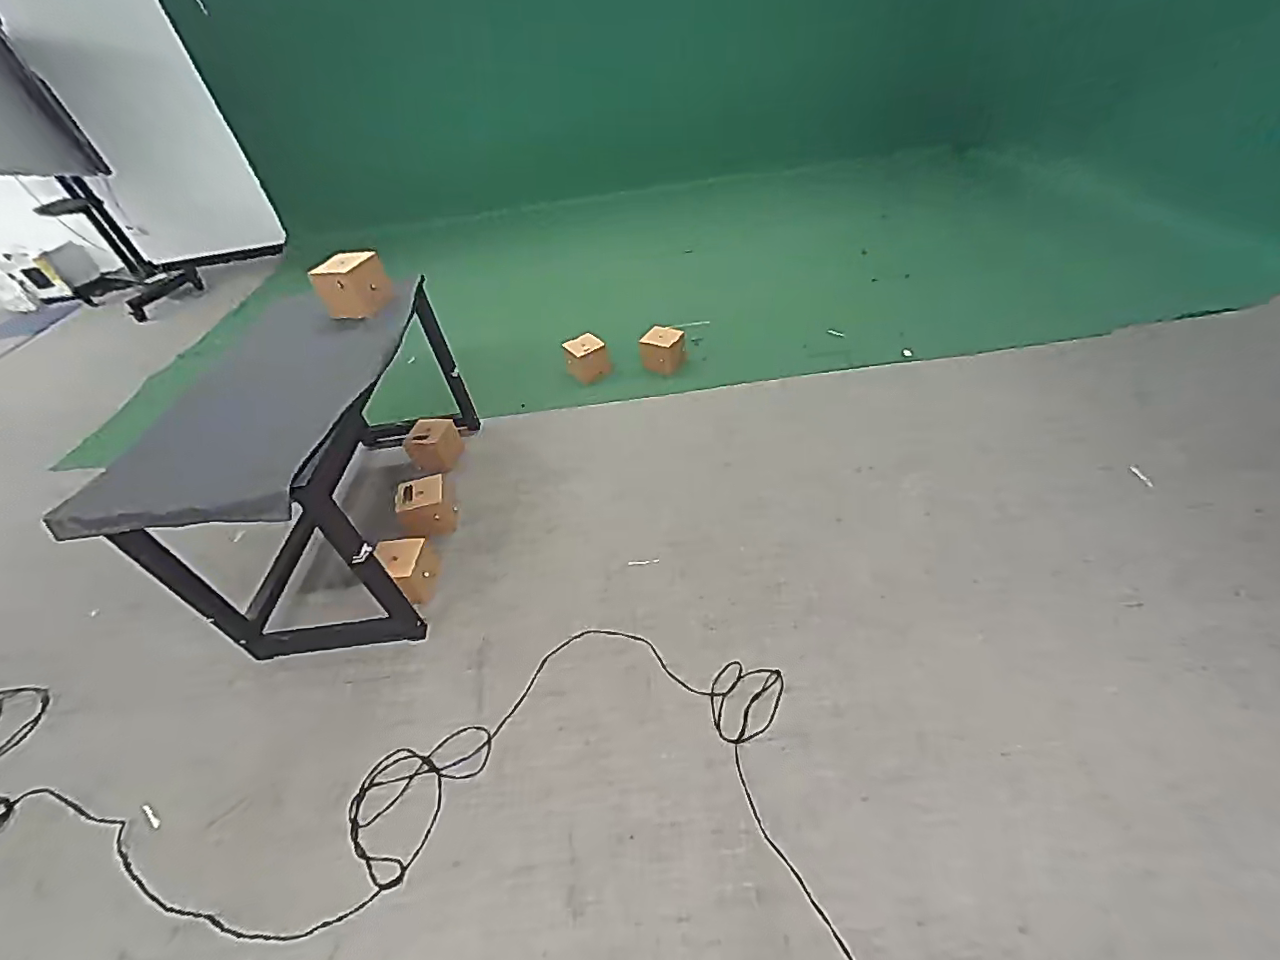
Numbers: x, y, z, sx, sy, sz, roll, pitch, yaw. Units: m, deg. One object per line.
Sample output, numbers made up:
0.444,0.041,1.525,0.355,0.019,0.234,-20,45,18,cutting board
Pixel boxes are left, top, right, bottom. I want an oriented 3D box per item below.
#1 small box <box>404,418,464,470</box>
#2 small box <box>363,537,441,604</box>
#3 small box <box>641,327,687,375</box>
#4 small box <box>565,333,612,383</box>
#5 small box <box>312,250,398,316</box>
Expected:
-0.906,-0.160,2.405,0.168,0.176,0.179,2,43,11,small box
-0.822,0.319,1.893,0.179,0.176,0.168,-5,44,6,small box
0.128,-0.649,2.739,0.179,0.176,0.168,18,49,27,small box
-0.265,-0.626,2.784,0.168,0.176,0.179,-30,46,-20,small box
-1.001,-0.695,1.916,0.179,0.176,0.168,6,45,19,small box
